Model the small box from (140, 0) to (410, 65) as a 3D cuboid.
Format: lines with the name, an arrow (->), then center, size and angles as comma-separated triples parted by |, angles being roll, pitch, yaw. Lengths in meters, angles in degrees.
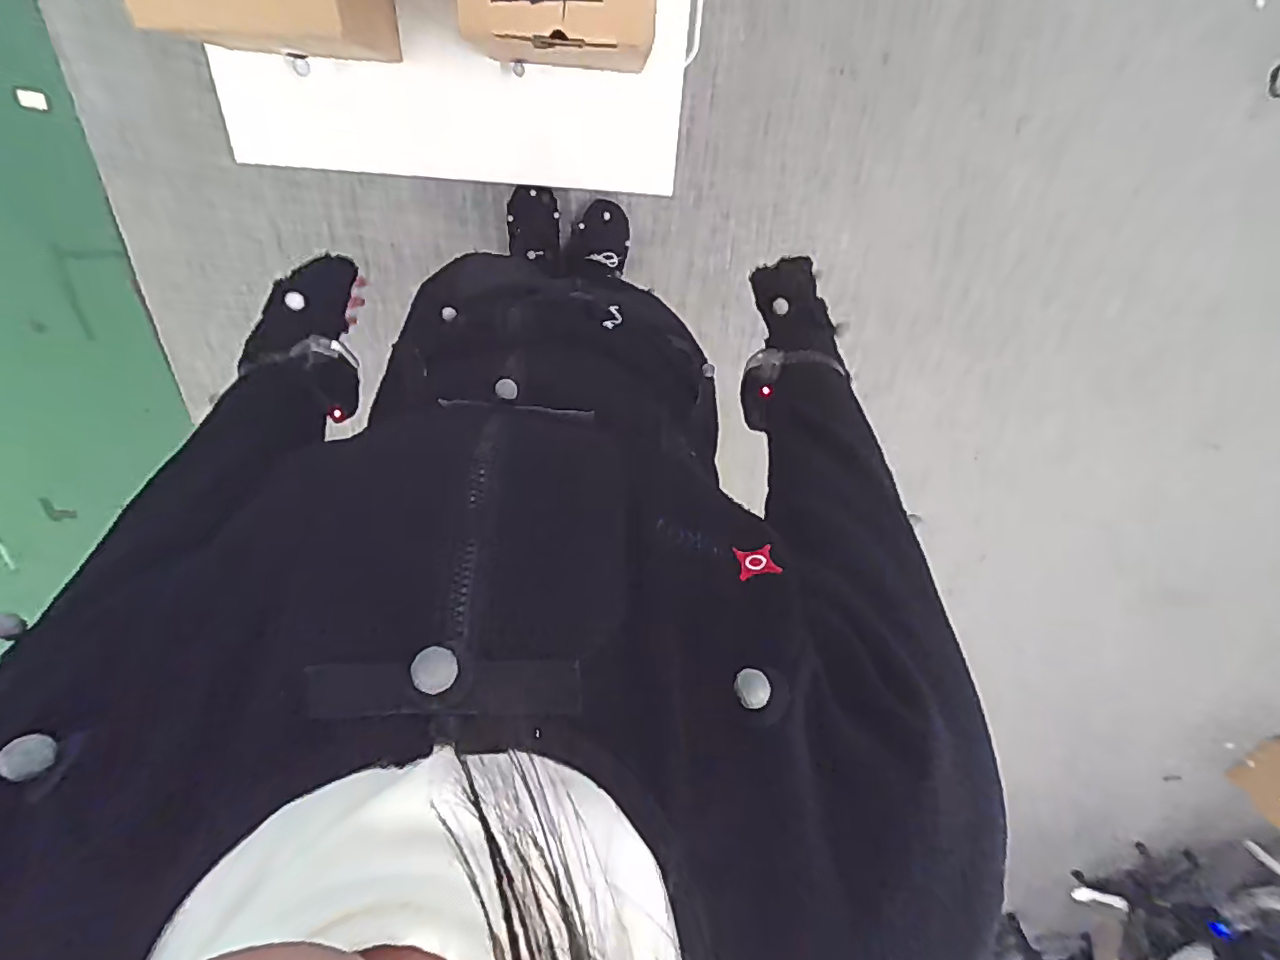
small box -> -0.321, -0.483, 0.470 | 0.168, 0.176, 0.179 | 0, 123, -3
